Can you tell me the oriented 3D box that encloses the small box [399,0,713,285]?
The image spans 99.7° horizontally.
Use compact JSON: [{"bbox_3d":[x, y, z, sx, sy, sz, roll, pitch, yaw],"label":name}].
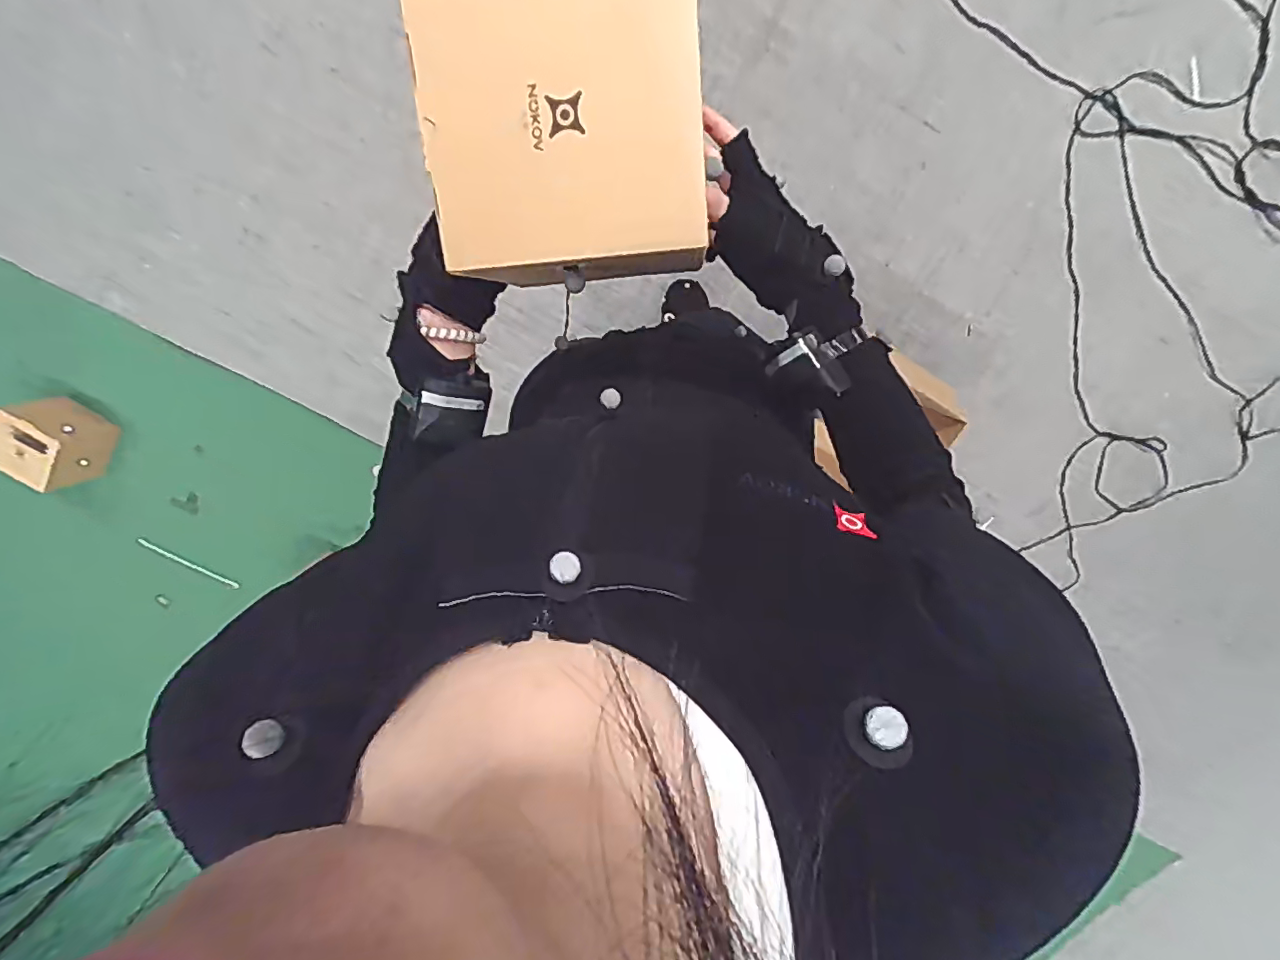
[{"bbox_3d":[-0.040,-0.239,0.399,0.179,0.176,0.168,-3,107,7],"label":"small box"}]
